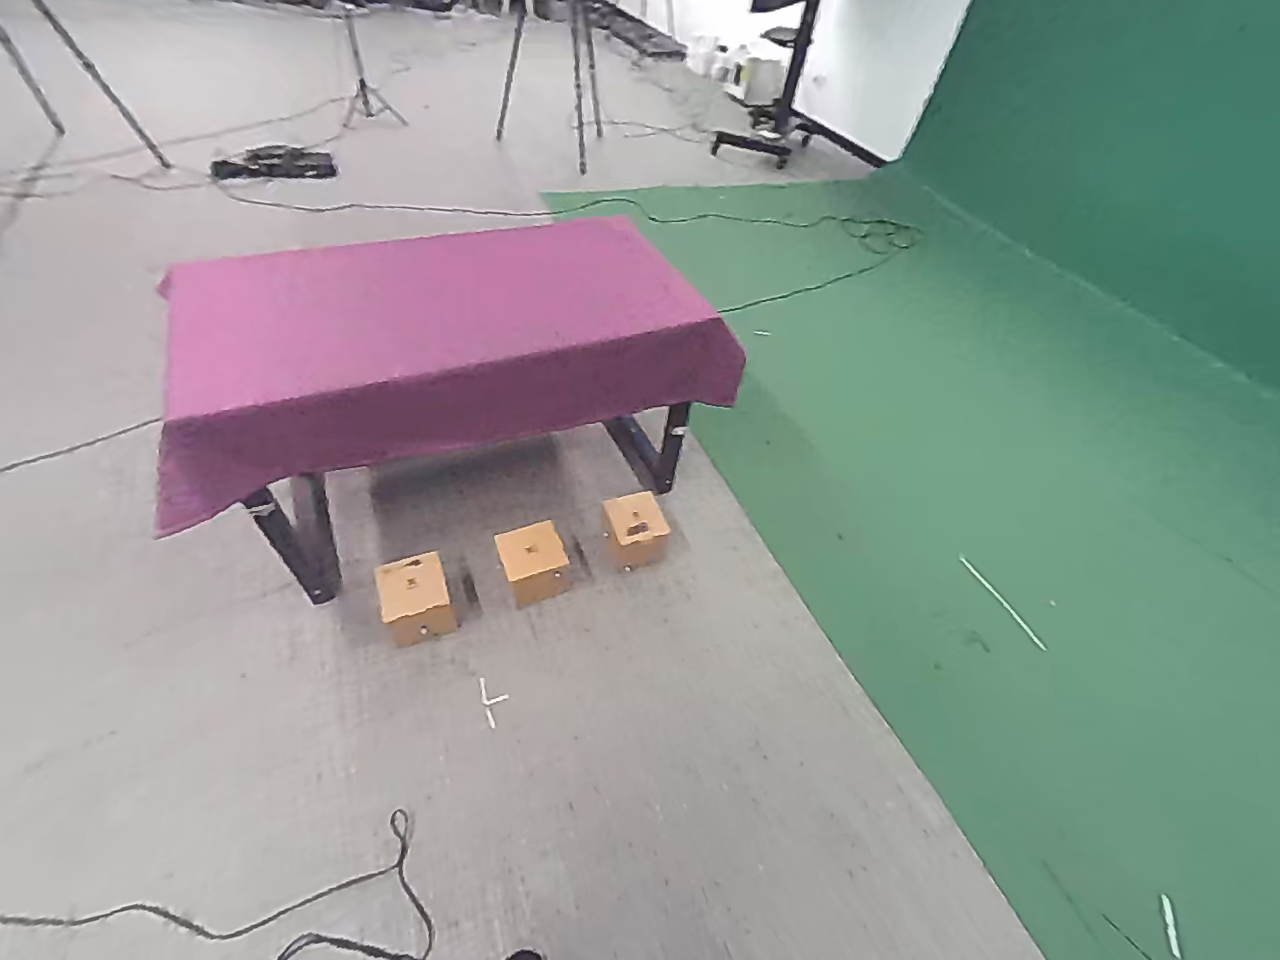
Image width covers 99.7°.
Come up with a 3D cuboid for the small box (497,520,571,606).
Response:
[{"bbox_3d":[-0.315,0.253,1.622,0.179,0.176,0.168,-16,53,-21],"label":"small box"}]

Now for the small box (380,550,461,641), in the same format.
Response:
[{"bbox_3d":[-0.609,0.331,1.512,0.168,0.176,0.179,-15,54,-19],"label":"small box"}]
